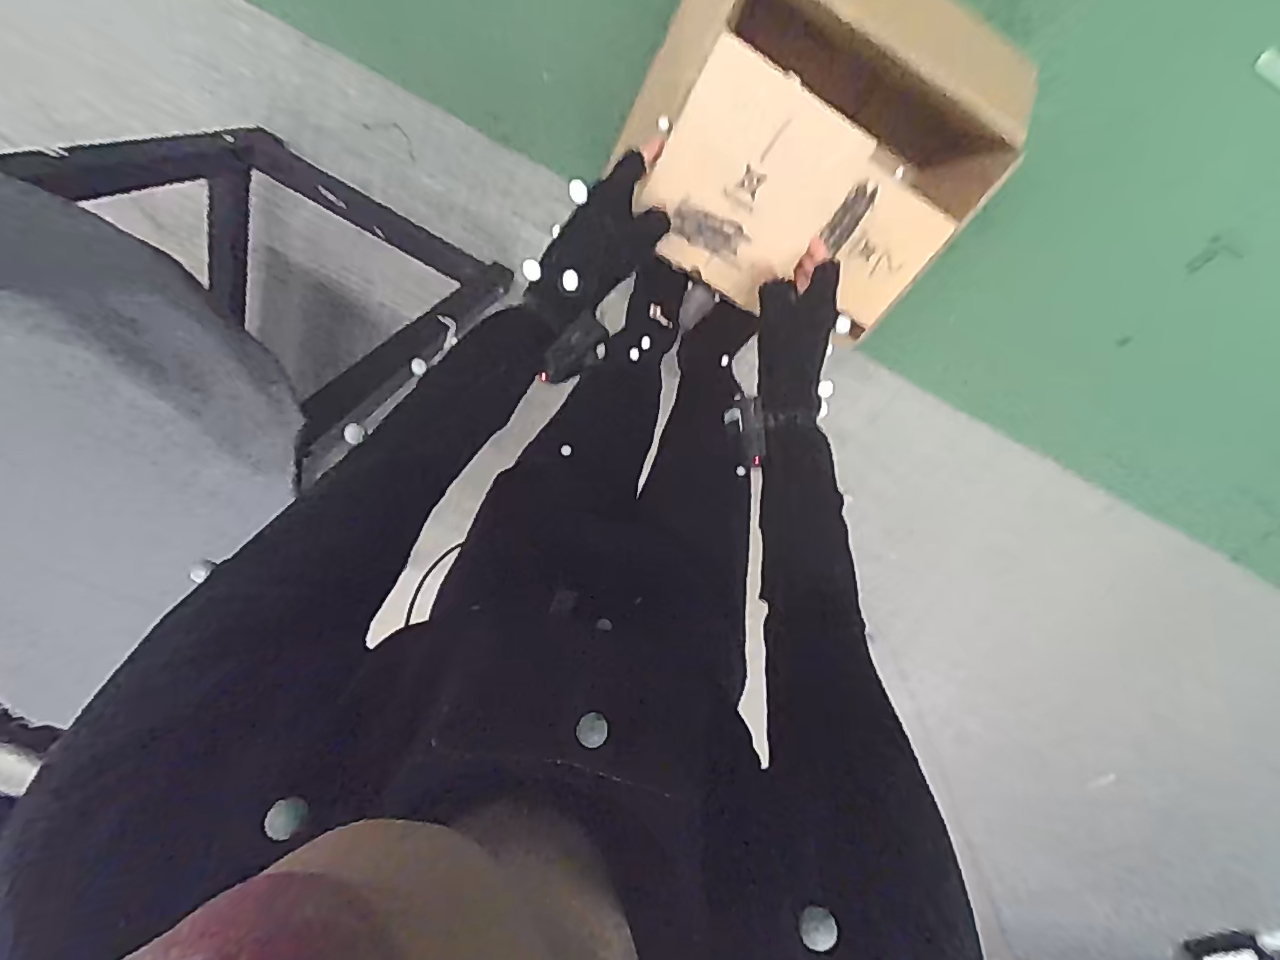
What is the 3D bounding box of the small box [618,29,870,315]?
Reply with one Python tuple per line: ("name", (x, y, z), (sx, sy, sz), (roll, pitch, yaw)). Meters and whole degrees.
("small box", (0.095, -0.306, 0.557), (0.168, 0.176, 0.179), (26, 120, -13))
